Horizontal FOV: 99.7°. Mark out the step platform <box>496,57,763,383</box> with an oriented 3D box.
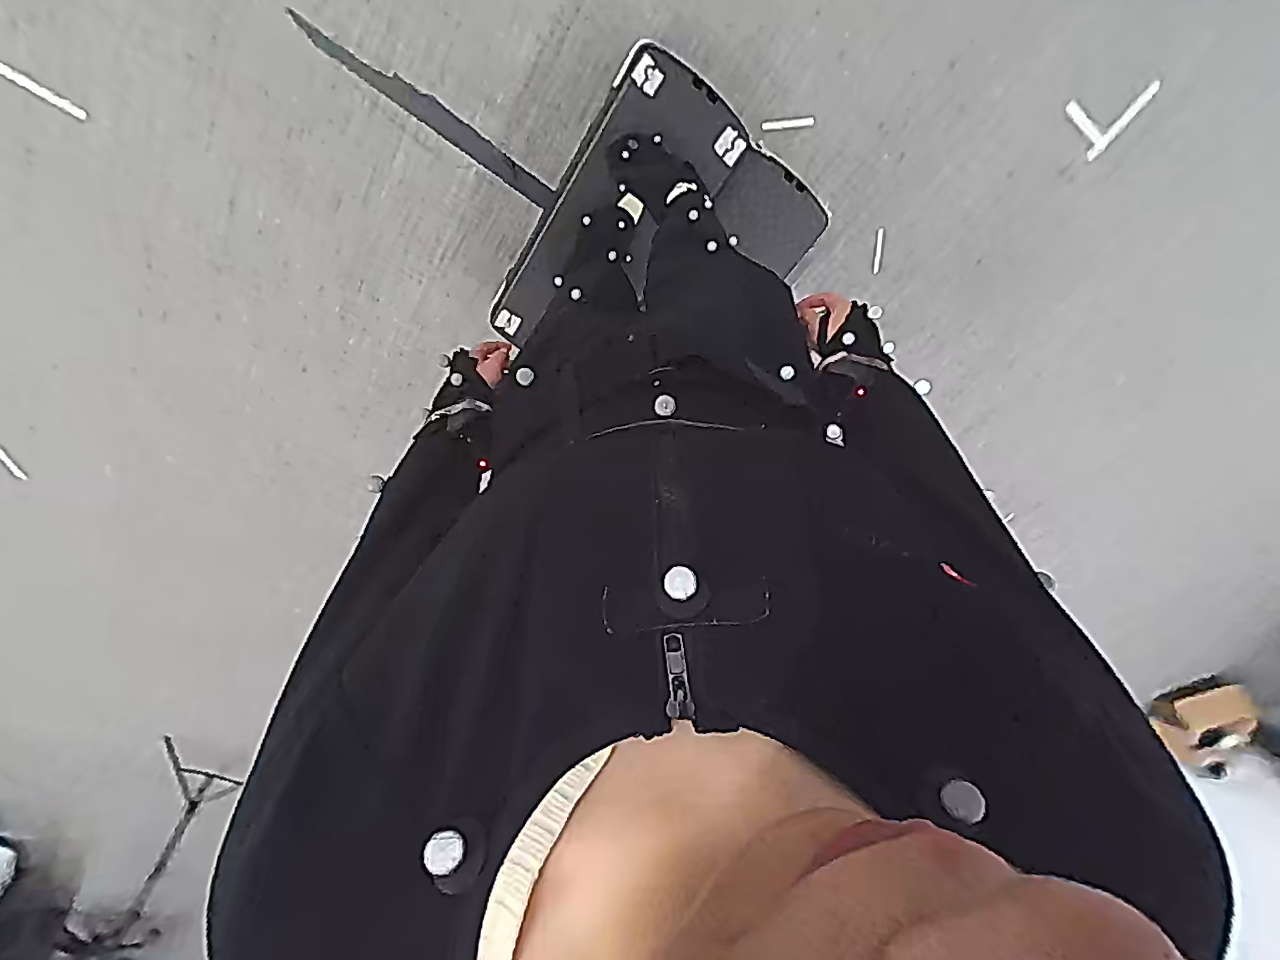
[{"bbox_3d":[-0.046,-0.556,1.245,0.286,0.204,0.684,32,115,-24],"label":"step platform"}]
